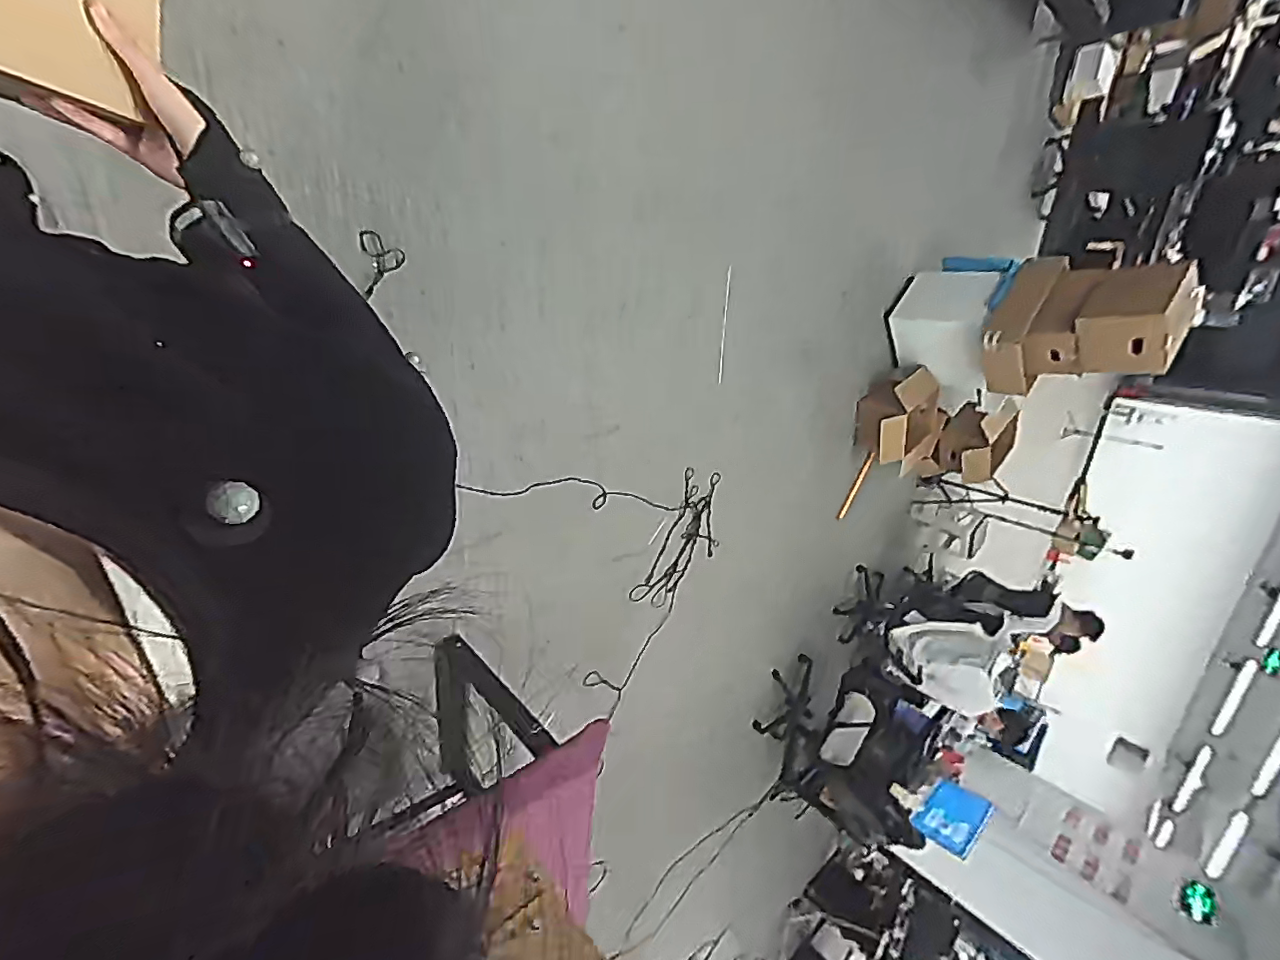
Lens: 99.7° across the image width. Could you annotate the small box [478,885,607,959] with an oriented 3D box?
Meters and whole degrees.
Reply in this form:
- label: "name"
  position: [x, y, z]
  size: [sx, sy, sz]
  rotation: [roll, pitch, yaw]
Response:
- label: "small box"
  position: [-0.177, 0.895, 0.975]
  size: [0.168, 0.176, 0.179]
  rotation: [-17, 119, -40]
